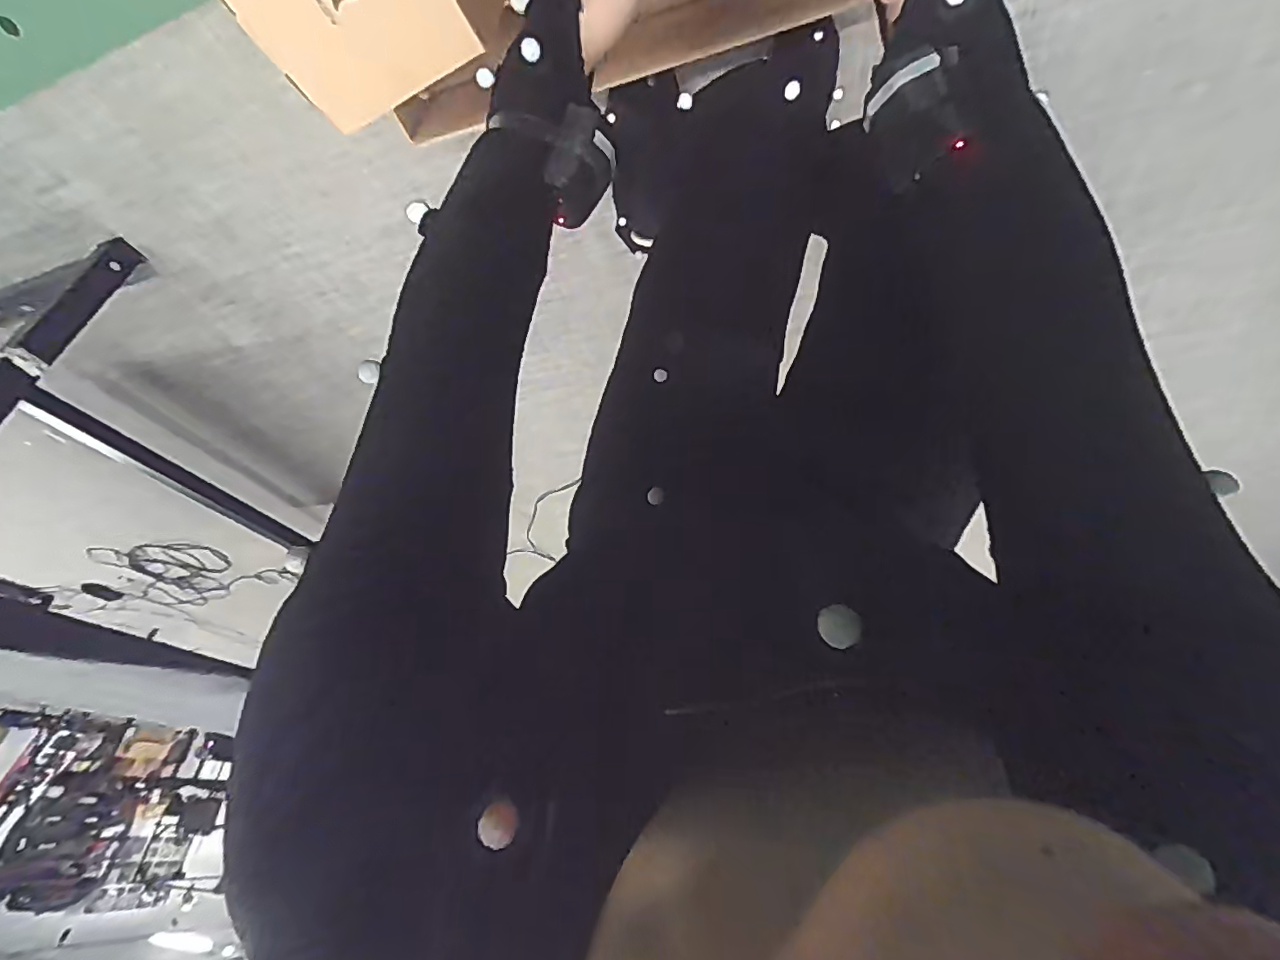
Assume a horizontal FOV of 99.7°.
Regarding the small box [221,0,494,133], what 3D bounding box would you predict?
[{"bbox_3d":[-0.240,-0.451,0.462,0.179,0.176,0.168,-14,145,20],"label":"small box"}]
